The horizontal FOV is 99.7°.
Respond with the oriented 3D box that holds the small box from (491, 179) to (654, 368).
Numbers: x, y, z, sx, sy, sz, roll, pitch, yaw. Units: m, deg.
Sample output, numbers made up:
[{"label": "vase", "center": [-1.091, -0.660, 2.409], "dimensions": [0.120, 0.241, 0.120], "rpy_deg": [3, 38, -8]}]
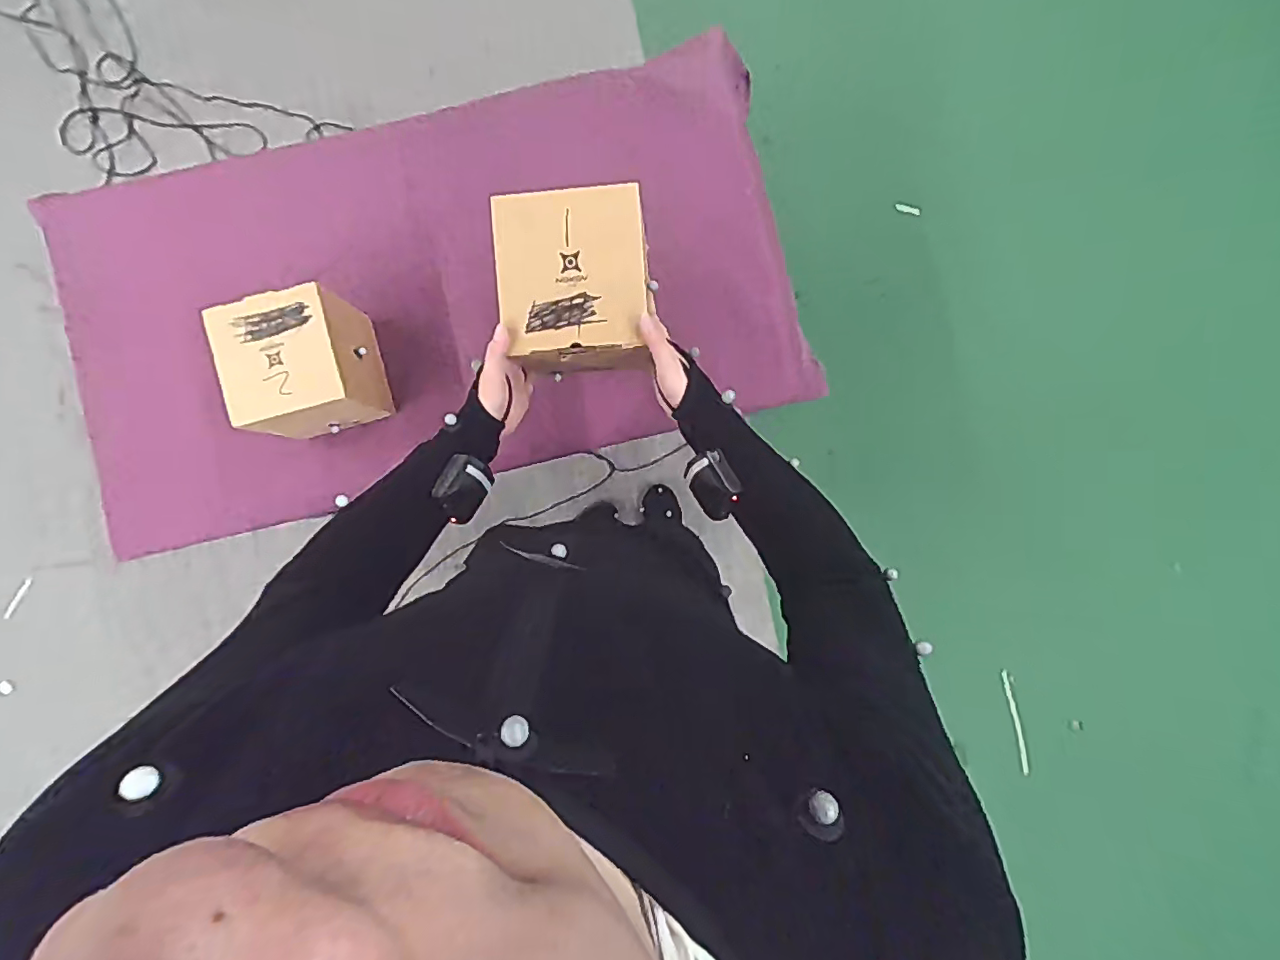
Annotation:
[{"label": "small box", "center": [-0.071, -0.235, 0.664], "dimensions": [0.168, 0.176, 0.179], "rpy_deg": [-3, 93, 3]}]
